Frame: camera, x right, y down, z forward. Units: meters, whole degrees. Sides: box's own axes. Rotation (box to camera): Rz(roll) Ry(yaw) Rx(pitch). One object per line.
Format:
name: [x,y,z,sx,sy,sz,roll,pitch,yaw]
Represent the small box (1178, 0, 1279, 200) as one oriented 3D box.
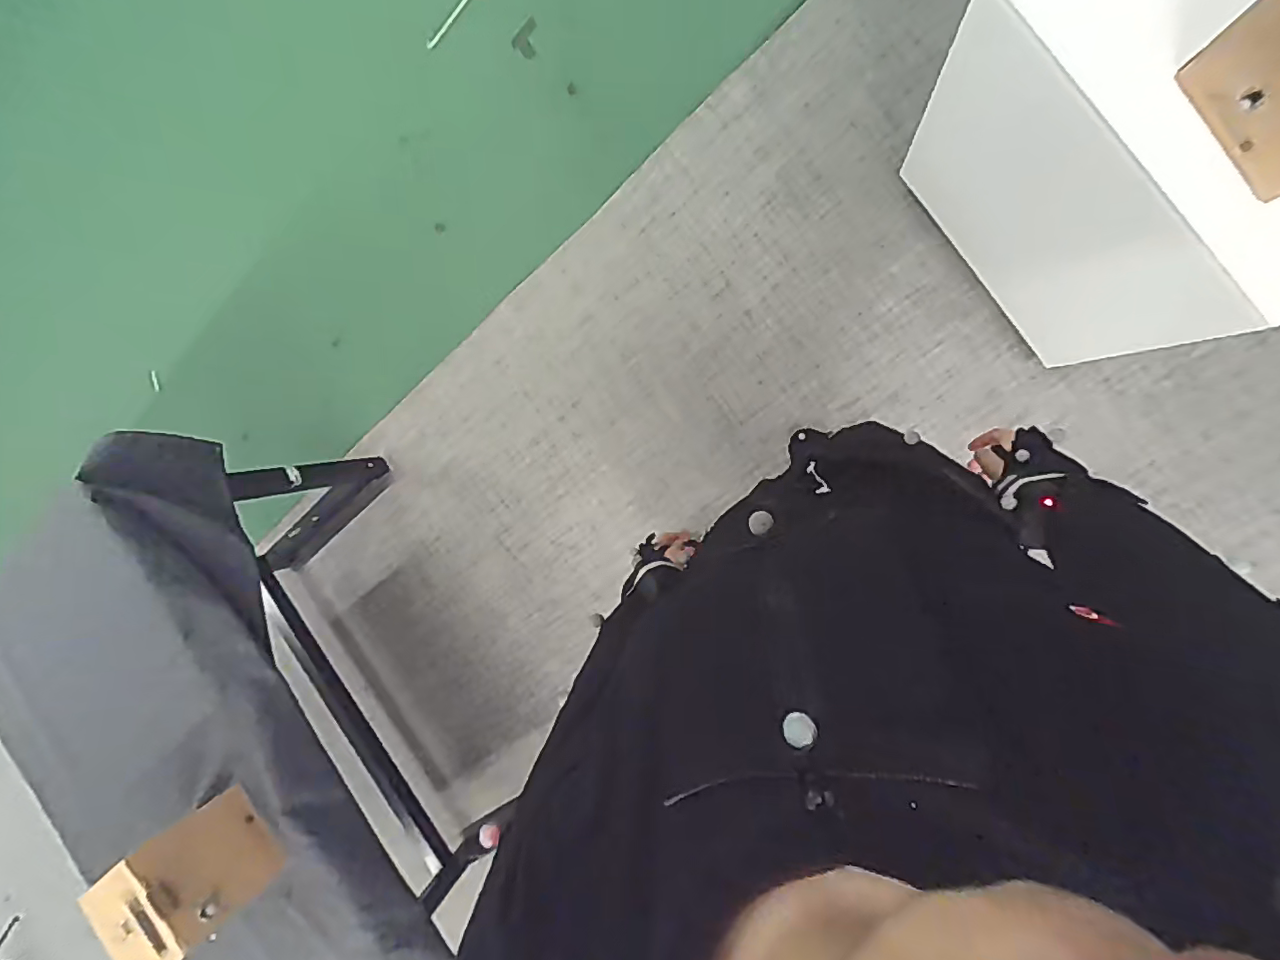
small box: [0.655,-0.391,0.472,0.179,0.176,0.168,-32,87,17]
